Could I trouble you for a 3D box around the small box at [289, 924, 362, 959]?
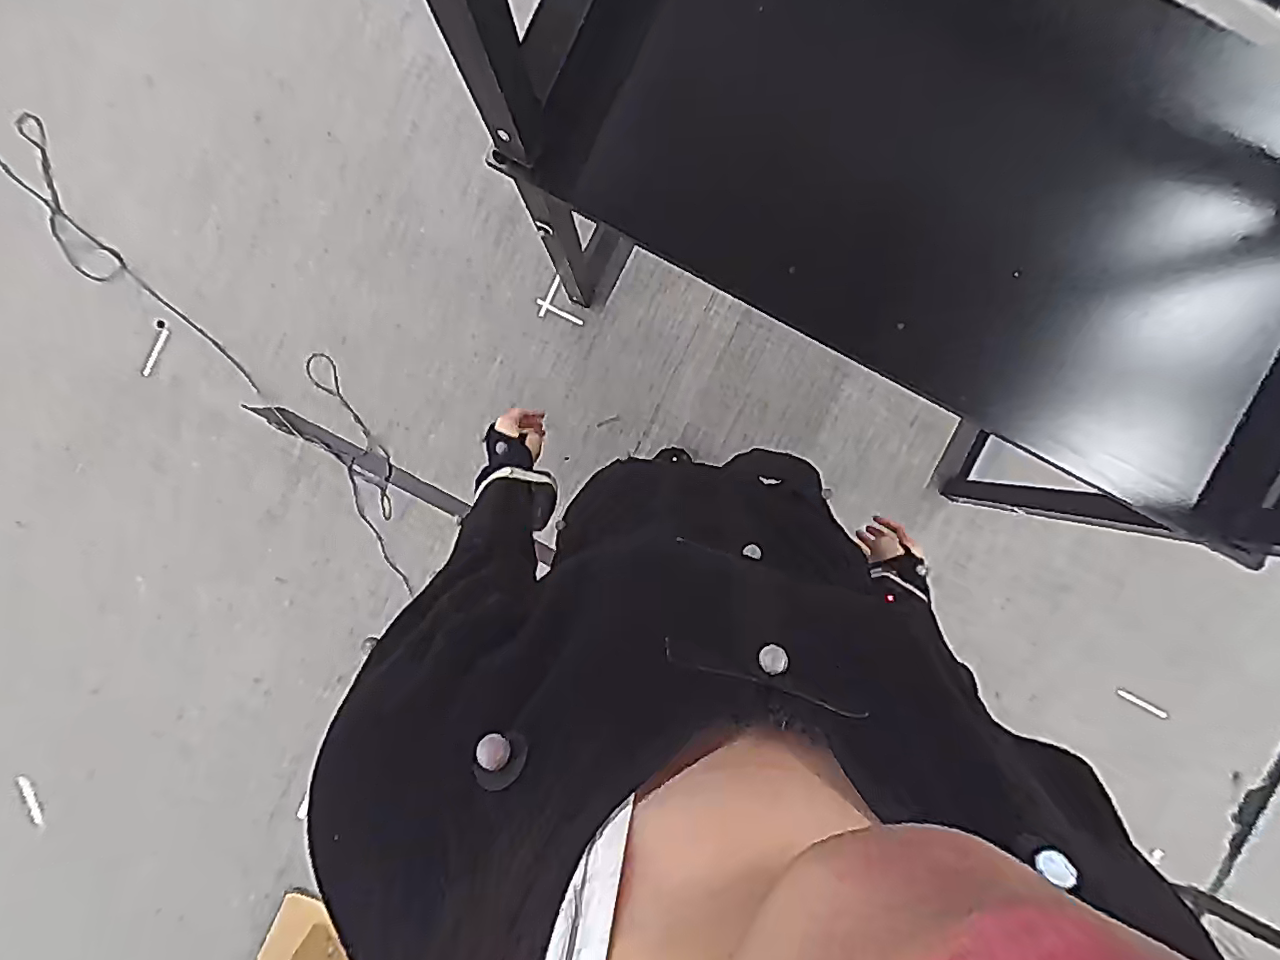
[{"bbox_3d":[-0.897,1.380,1.471,0.168,0.176,0.179,26,92,-3],"label":"small box"}]
